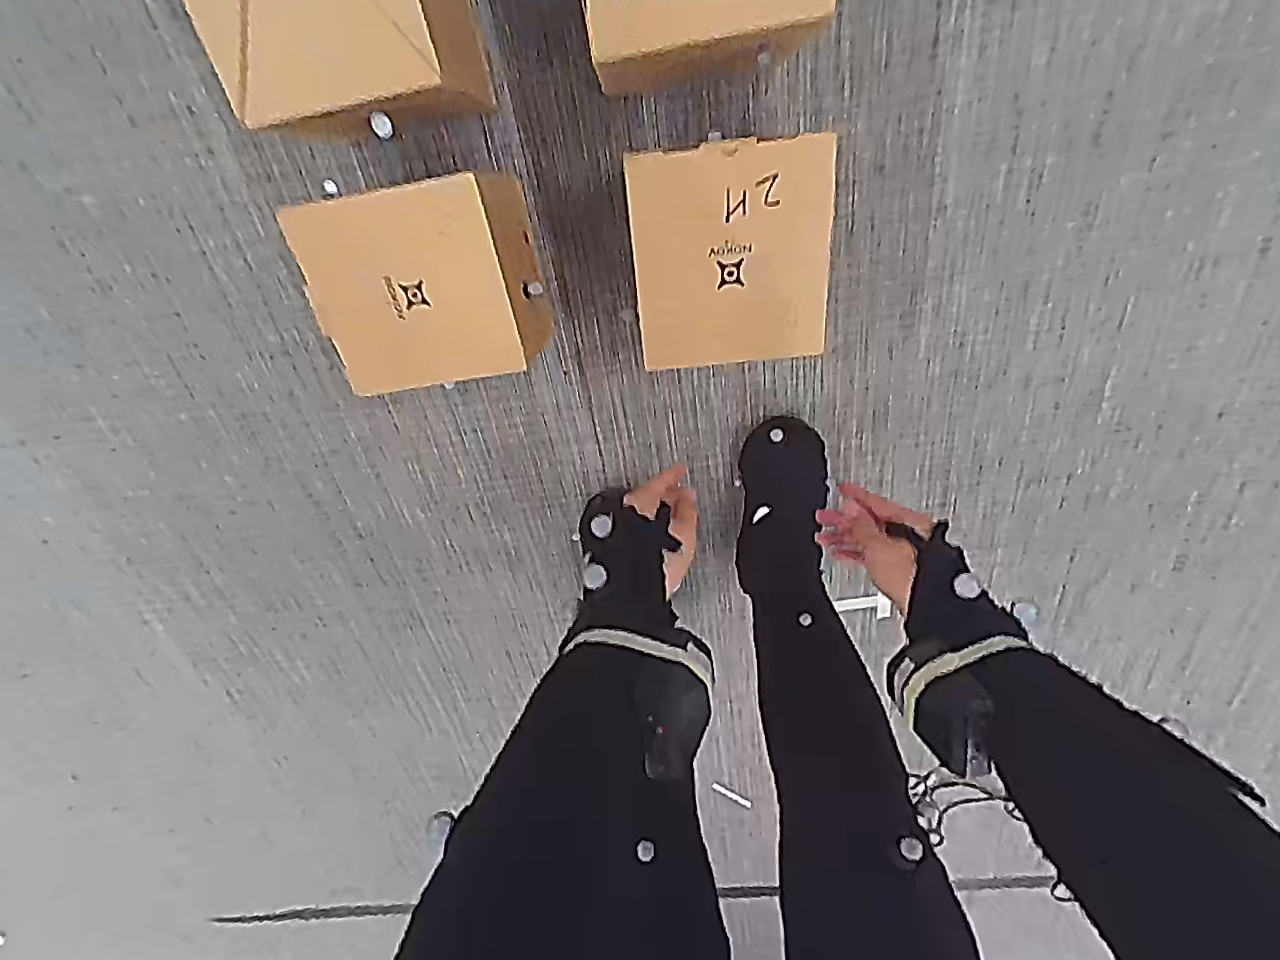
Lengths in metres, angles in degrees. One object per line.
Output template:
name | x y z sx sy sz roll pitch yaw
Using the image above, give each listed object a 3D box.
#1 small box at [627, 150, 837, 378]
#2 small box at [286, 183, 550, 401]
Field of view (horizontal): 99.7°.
small box | 0.079 -0.215 0.531 0.168 0.176 0.179 -5 119 3
small box | -0.197 -0.197 0.548 0.179 0.176 0.168 -7 119 6
